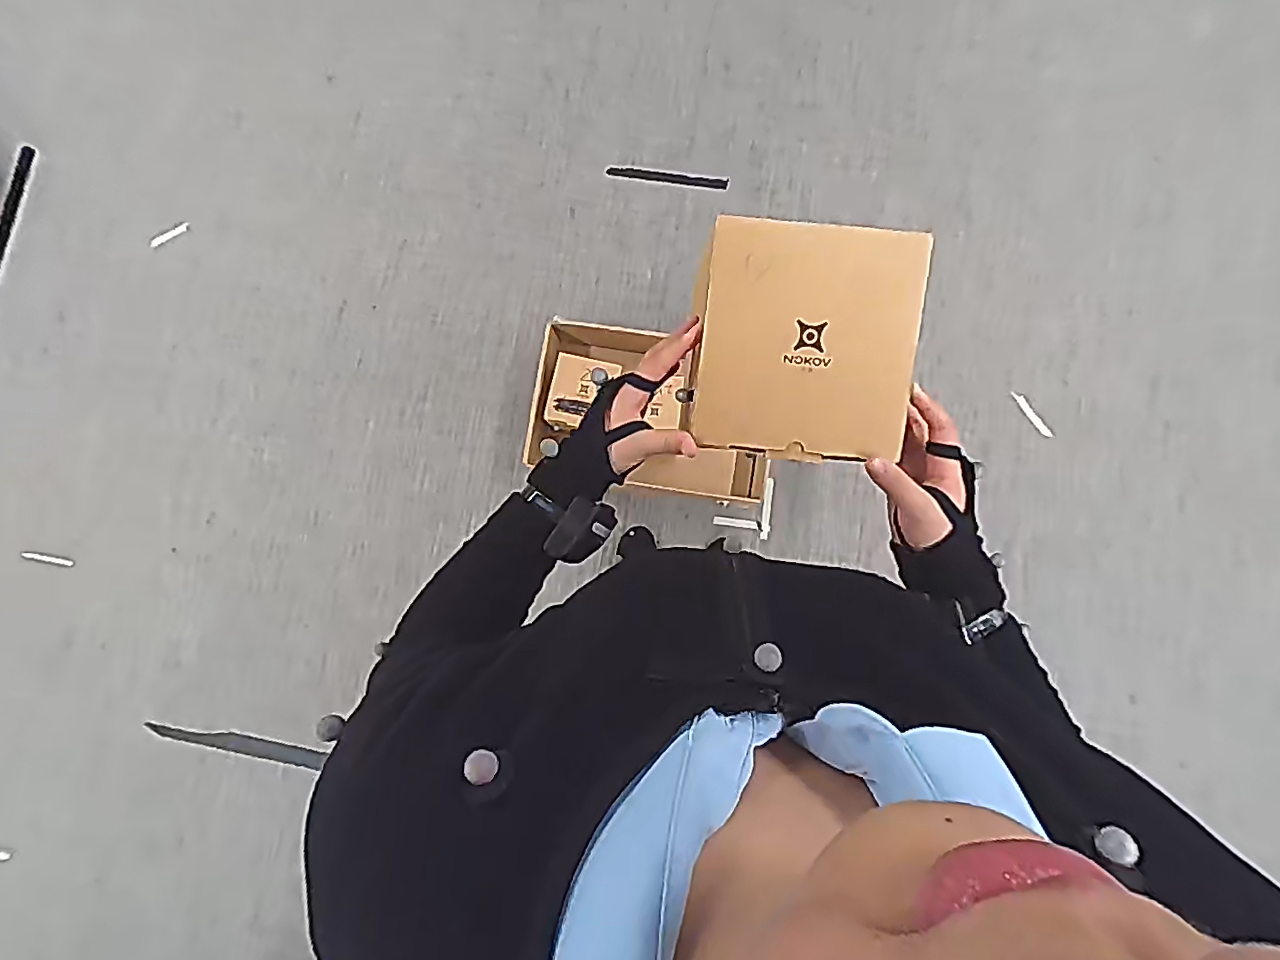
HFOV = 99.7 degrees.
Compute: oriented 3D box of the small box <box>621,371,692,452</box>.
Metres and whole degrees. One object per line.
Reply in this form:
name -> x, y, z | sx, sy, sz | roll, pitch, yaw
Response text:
small box -> 0.044, -0.173, 1.420 | 0.168, 0.176, 0.179 | 5, 85, 2
